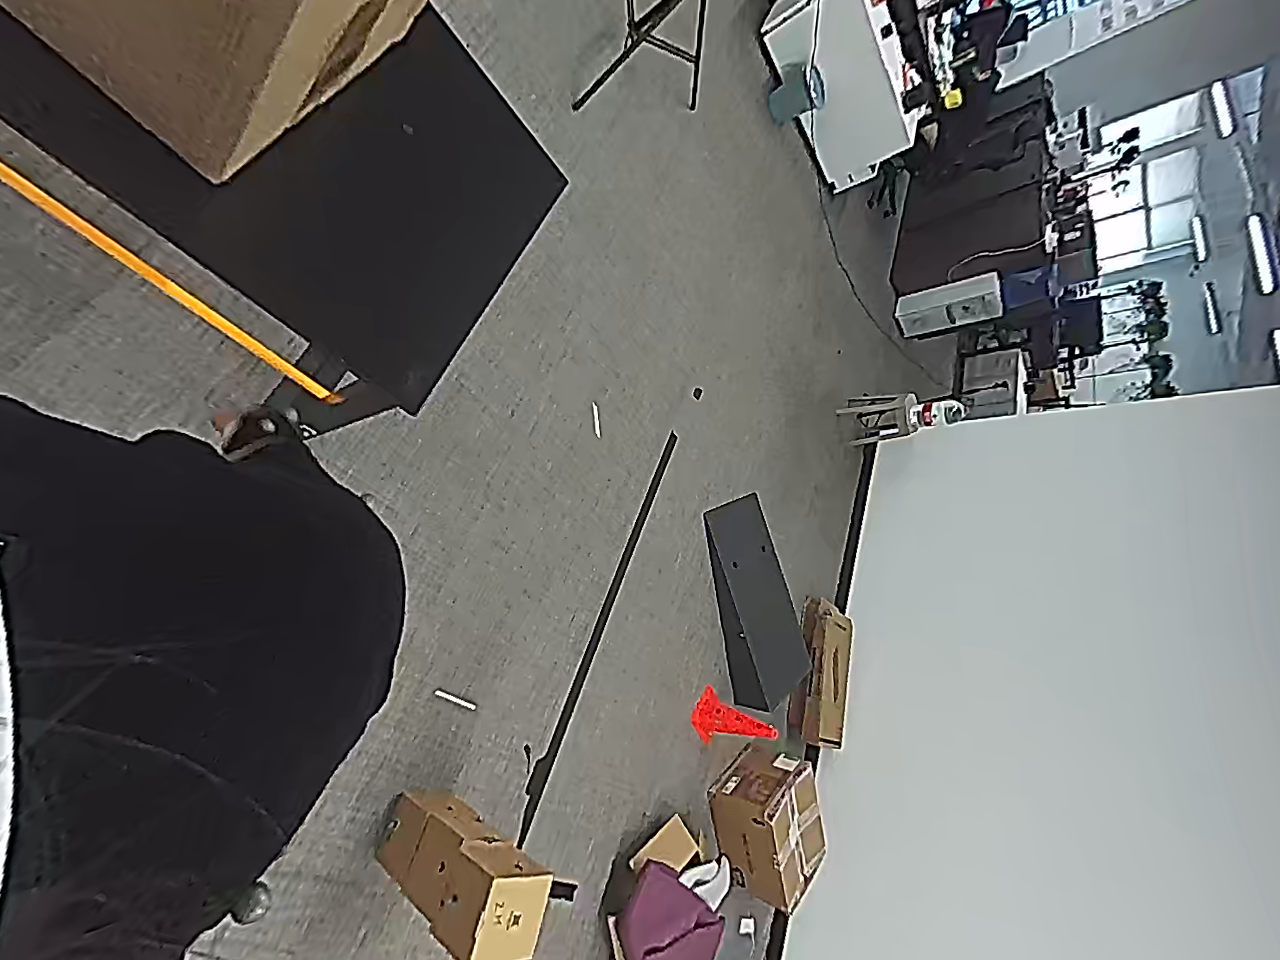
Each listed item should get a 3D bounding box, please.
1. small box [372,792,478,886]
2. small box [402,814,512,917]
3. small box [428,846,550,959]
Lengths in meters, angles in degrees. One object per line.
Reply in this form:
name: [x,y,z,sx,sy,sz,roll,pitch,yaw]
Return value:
small box: [-0.579,0.961,1.455,0.179,0.176,0.168,35,61,-39]
small box: [-0.458,0.958,1.343,0.168,0.176,0.179,38,61,-39]
small box: [-0.342,0.954,1.225,0.179,0.176,0.168,34,62,-40]
